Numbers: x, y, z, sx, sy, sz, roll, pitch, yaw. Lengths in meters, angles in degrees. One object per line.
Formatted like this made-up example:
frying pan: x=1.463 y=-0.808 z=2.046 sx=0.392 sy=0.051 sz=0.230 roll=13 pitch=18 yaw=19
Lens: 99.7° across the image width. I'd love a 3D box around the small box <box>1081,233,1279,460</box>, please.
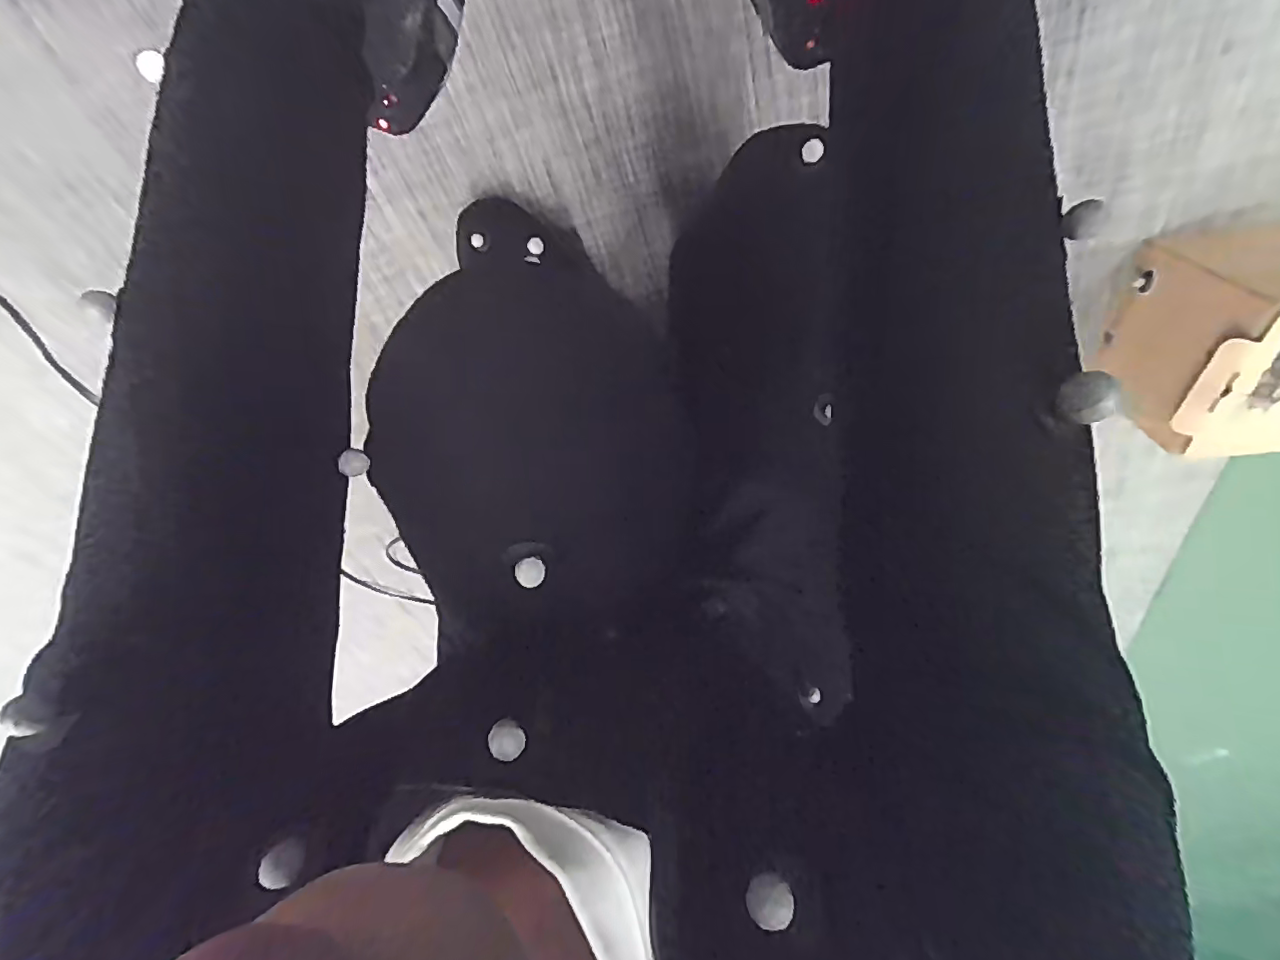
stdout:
small box: x=0.619 y=-0.140 z=0.559 sx=0.179 sy=0.176 sz=0.168 roll=-5 pitch=131 yaw=4
